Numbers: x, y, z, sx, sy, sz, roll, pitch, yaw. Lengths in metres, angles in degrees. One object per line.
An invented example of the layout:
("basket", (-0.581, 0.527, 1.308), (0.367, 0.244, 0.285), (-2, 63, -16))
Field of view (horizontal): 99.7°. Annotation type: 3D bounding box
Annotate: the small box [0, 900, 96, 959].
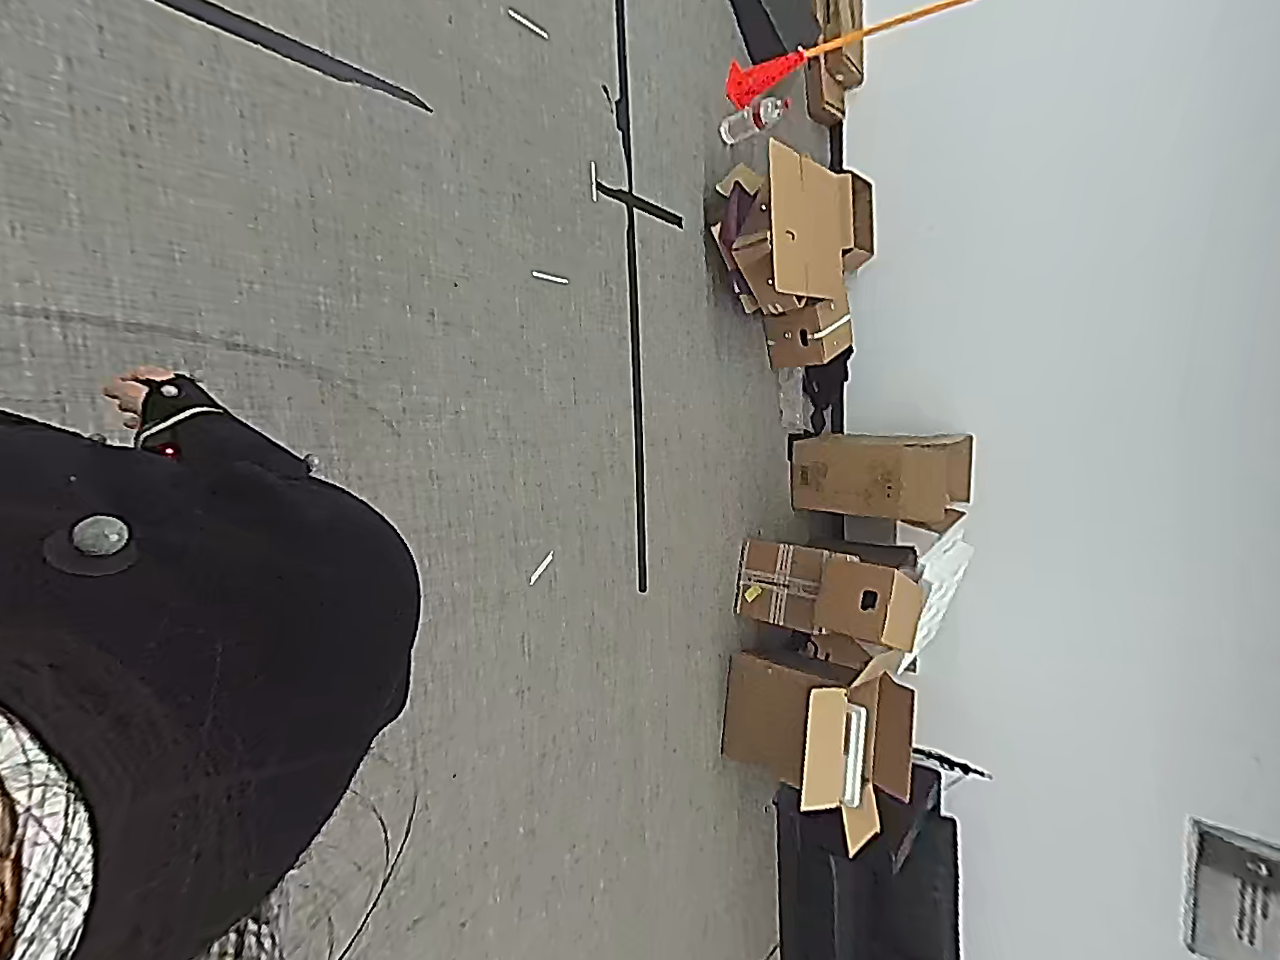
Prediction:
("small box", (-0.675, 0.580, 0.550), (0.168, 0.176, 0.179), (0, 93, -47))
